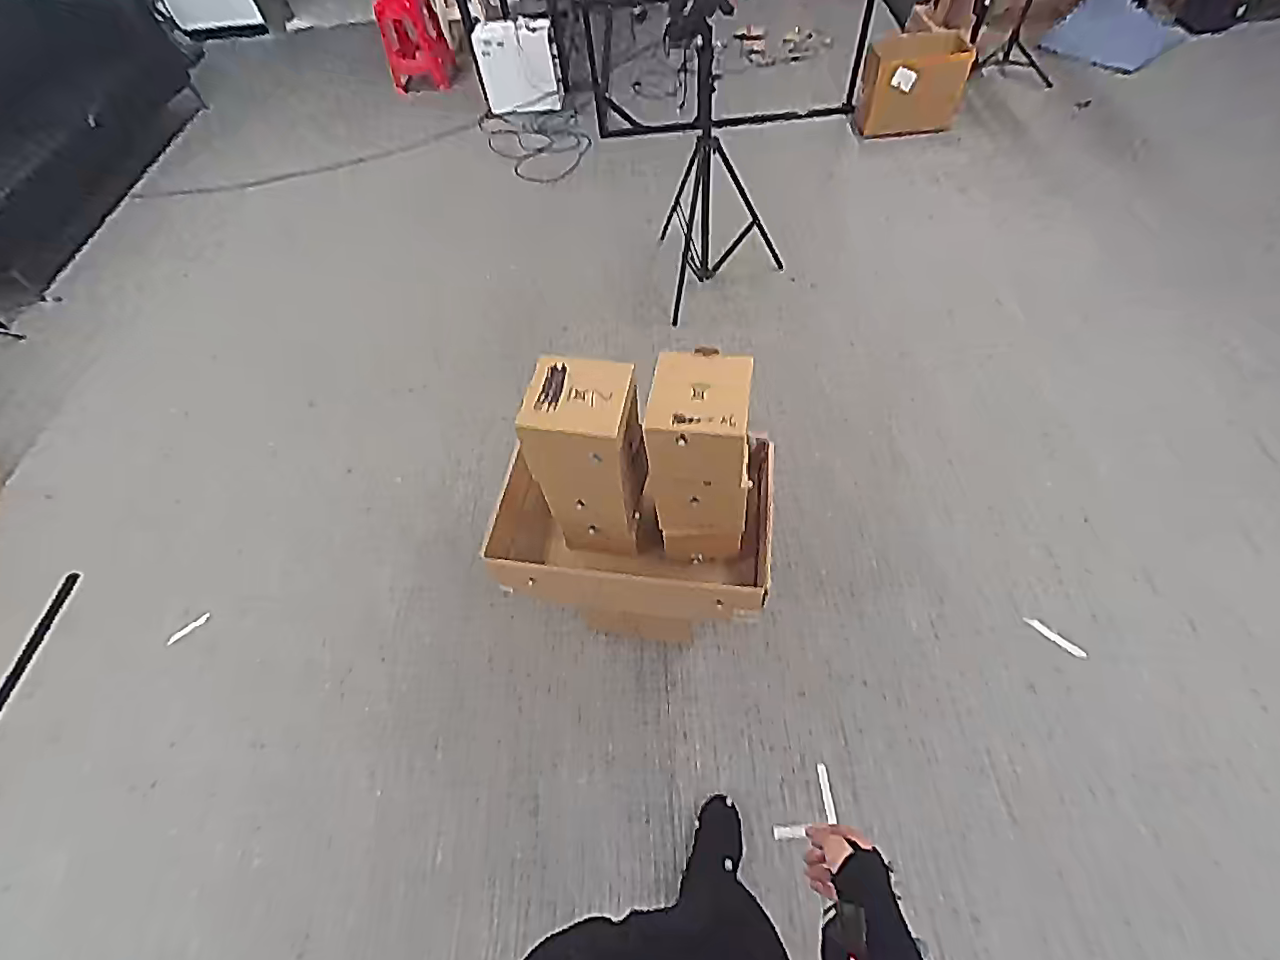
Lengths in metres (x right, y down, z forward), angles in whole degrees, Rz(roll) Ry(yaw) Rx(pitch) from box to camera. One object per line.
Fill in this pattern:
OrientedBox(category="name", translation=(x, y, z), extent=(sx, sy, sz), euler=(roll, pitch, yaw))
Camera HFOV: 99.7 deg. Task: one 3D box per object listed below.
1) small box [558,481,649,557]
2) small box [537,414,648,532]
OrientedBox(category="small box", translation=(-0.077, 0.067, 1.259), extent=(0.179, 0.176, 0.168), euler=(6, 58, 8))
OrientedBox(category="small box", translation=(-0.087, -0.009, 1.113), extent=(0.179, 0.176, 0.168), euler=(10, 58, 12))
